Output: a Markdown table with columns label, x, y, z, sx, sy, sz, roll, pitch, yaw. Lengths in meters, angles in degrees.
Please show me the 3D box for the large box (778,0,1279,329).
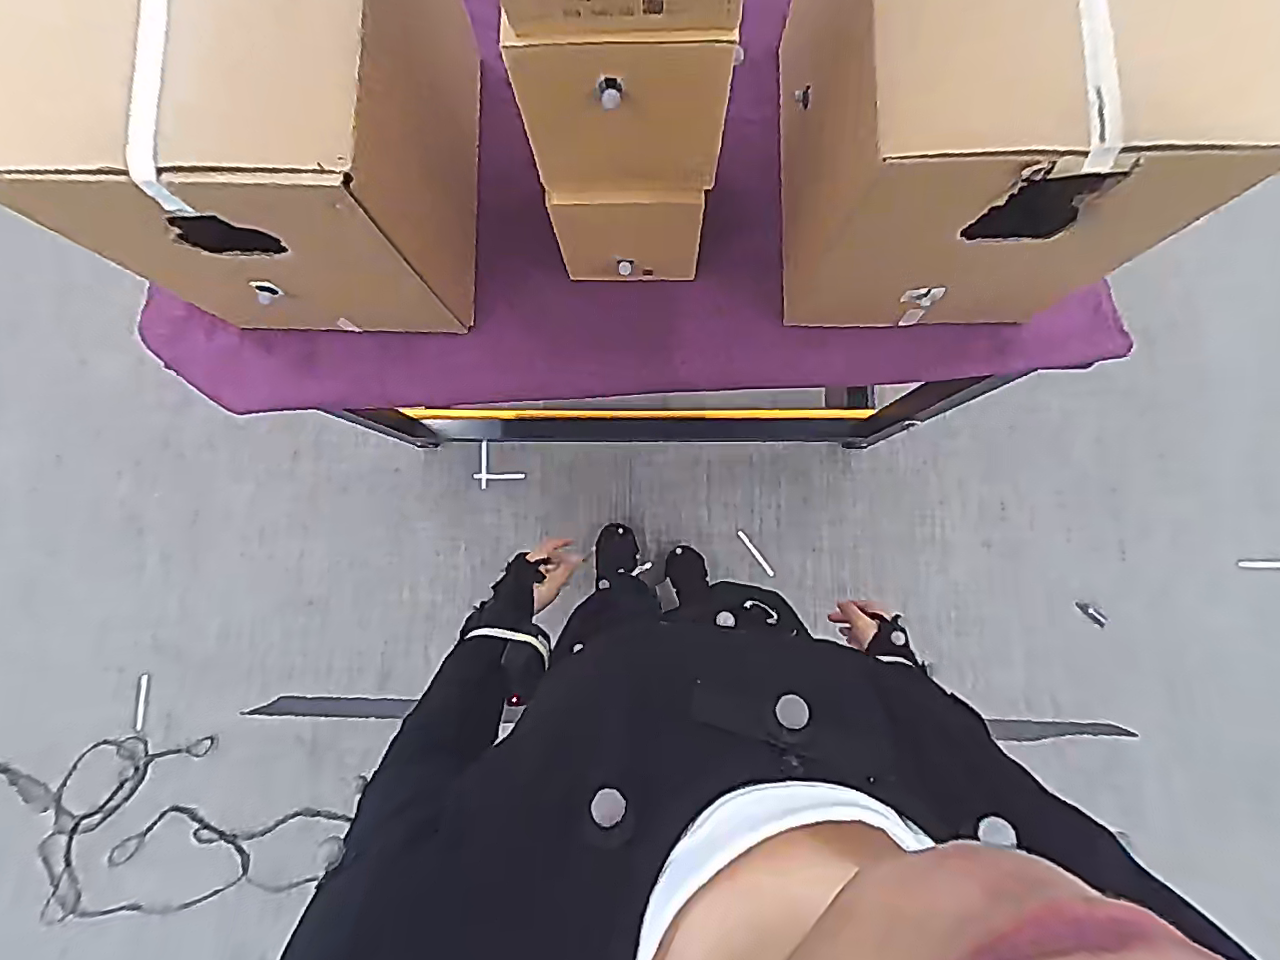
| label | x | y | z | sx | sy | sz | roll | pitch | yaw |
| --- | --- | --- | --- | --- | --- | --- | --- | --- | --- |
| large box | 0.333 | -0.411 | 0.566 | 0.320 | 0.320 | 0.408 | 0 | 83 | 2 |
